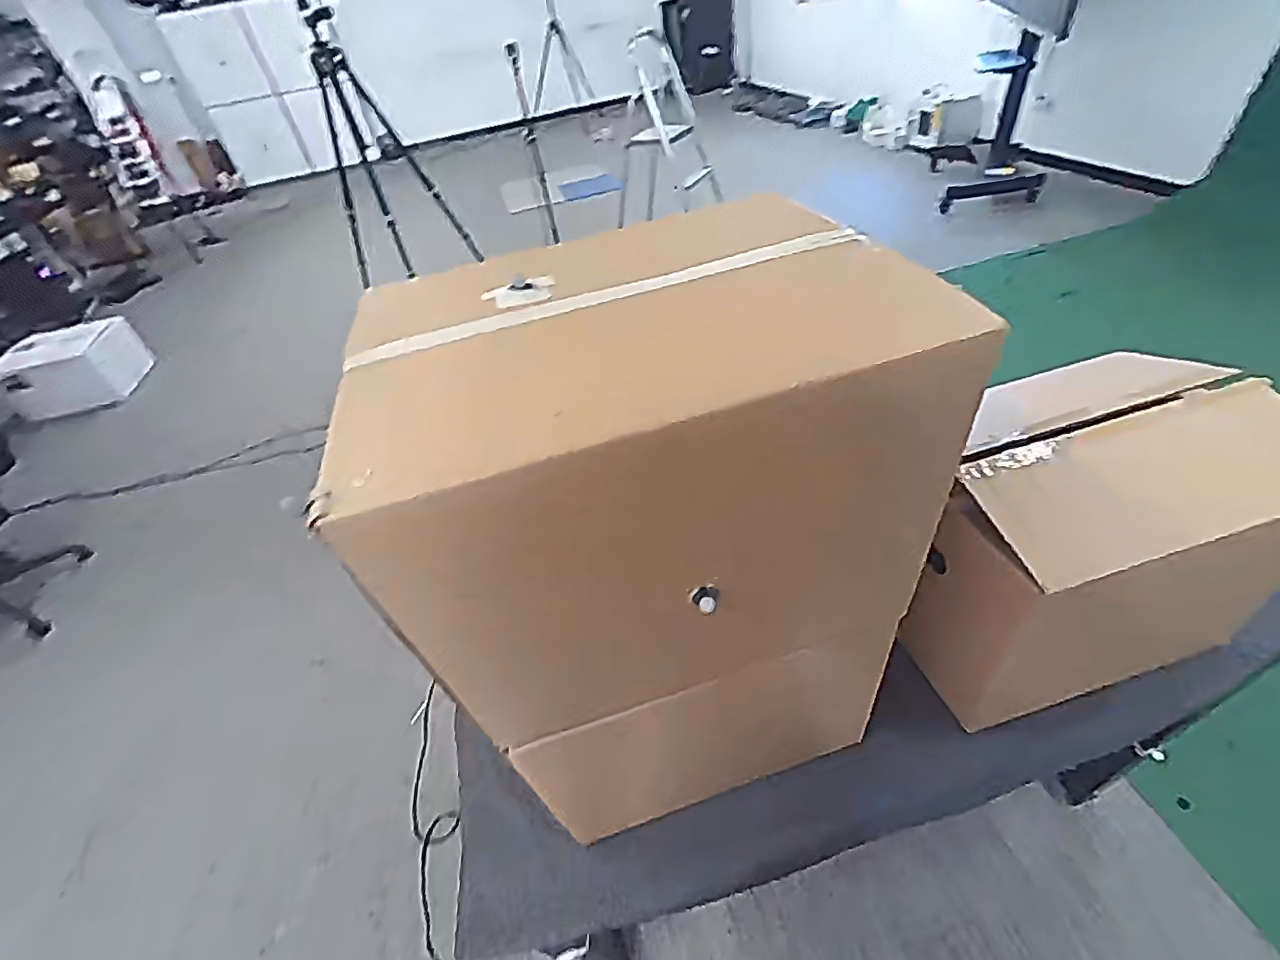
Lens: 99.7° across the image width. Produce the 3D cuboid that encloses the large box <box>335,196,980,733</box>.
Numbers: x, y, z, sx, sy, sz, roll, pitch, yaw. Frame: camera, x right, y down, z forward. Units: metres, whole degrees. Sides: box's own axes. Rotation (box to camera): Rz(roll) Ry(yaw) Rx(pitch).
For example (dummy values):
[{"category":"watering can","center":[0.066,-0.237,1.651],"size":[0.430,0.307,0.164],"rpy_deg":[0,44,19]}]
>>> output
[{"category":"large box","center":[0.005,-0.024,0.517],"size":[0.408,0.320,0.320],"rpy_deg":[-17,43,-6]}]
